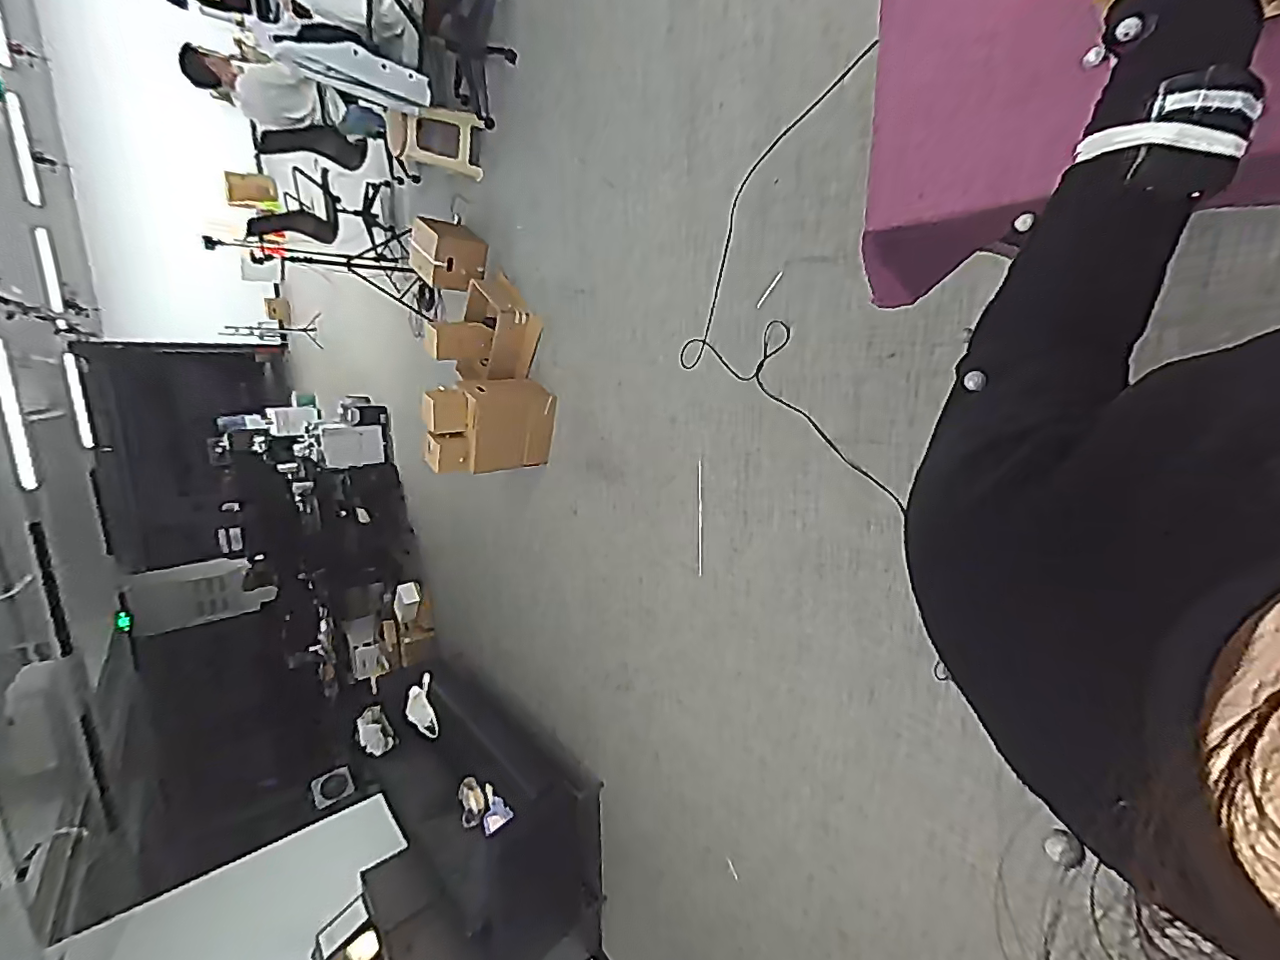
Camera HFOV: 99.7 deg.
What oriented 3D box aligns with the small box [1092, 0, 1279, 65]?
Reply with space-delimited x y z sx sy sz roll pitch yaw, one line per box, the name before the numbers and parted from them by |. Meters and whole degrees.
small box | 0.475 -0.490 0.427 0.168 0.176 0.179 13 97 48
